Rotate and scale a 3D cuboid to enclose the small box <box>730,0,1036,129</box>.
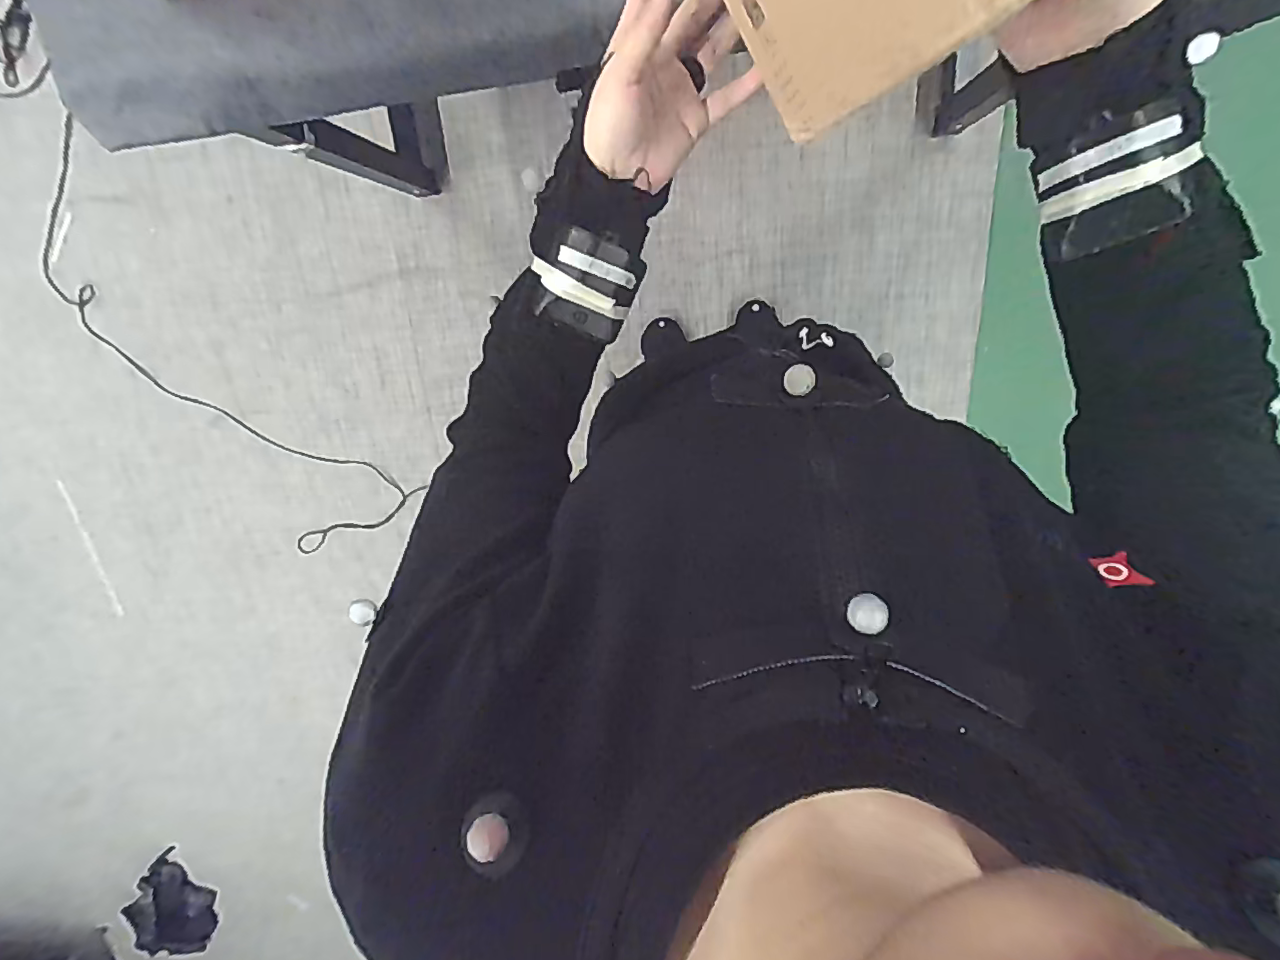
[{"bbox_3d":[0.112,-0.253,0.165,0.179,0.176,0.168,-35,109,12],"label":"small box"}]
